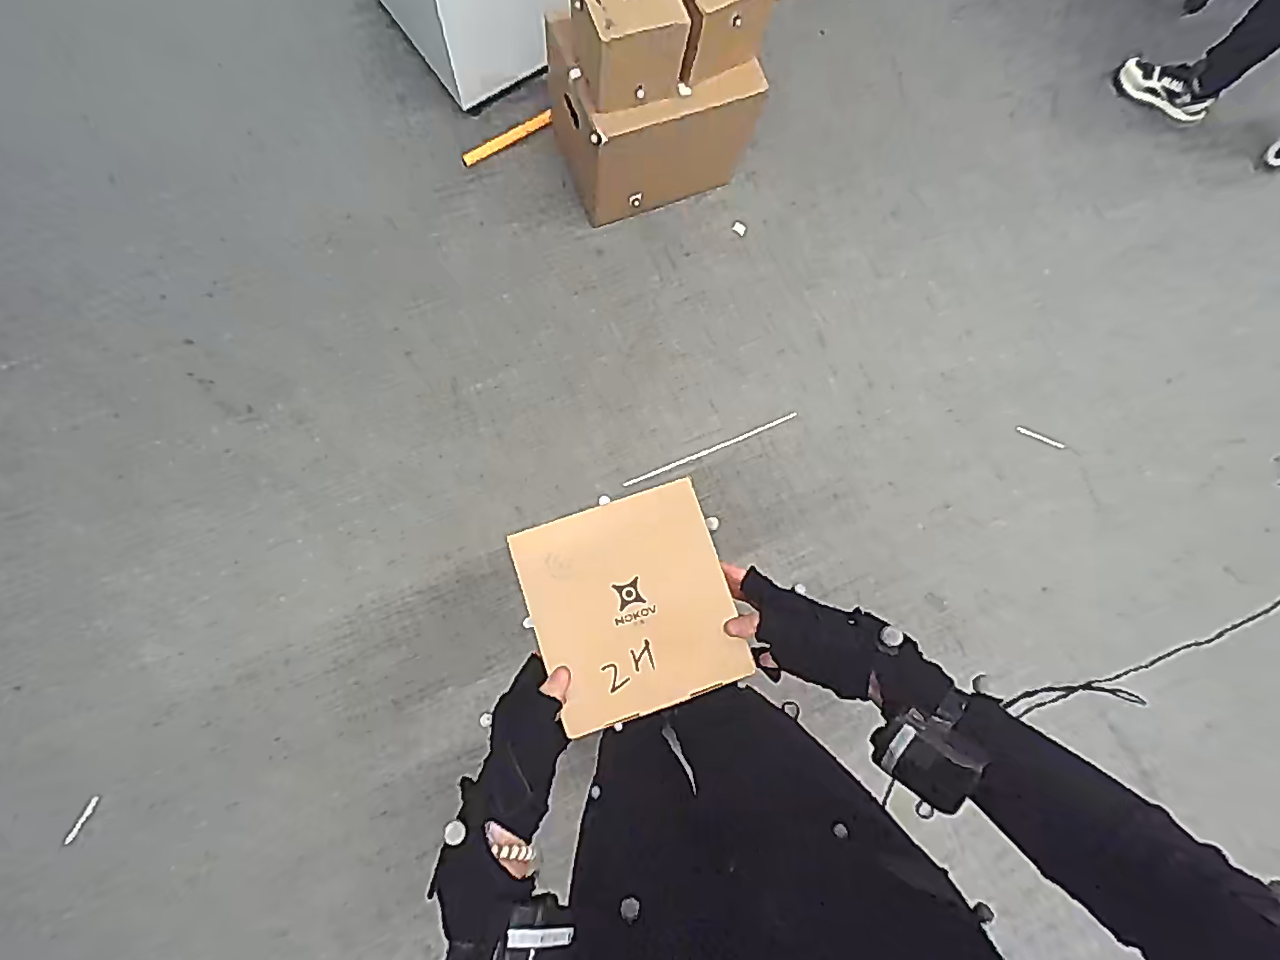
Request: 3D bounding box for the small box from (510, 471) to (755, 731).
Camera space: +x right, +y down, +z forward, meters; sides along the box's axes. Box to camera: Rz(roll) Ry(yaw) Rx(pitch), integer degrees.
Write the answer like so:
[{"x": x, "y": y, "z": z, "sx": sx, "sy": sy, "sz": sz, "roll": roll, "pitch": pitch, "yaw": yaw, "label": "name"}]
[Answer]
[{"x": -0.010, "y": 0.108, "z": 0.525, "sx": 0.168, "sy": 0.176, "sz": 0.179, "roll": -18, "pitch": 83, "yaw": -4, "label": "small box"}]
